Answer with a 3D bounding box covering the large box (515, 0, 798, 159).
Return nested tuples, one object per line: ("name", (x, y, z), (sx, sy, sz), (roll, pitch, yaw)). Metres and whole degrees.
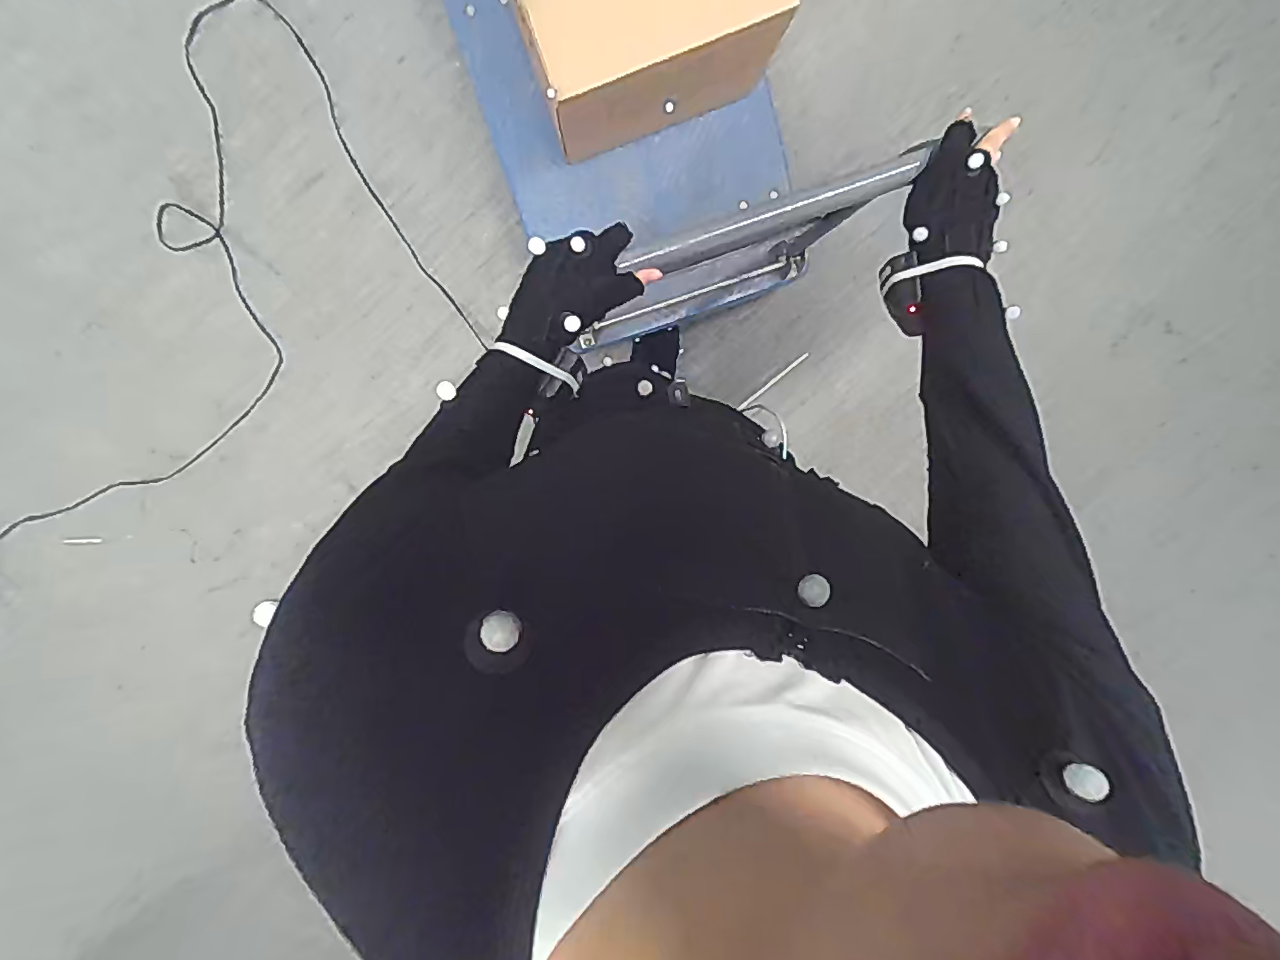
("large box", (0.003, -0.838, 0.944), (0.408, 0.320, 0.320), (-21, 104, 2))
